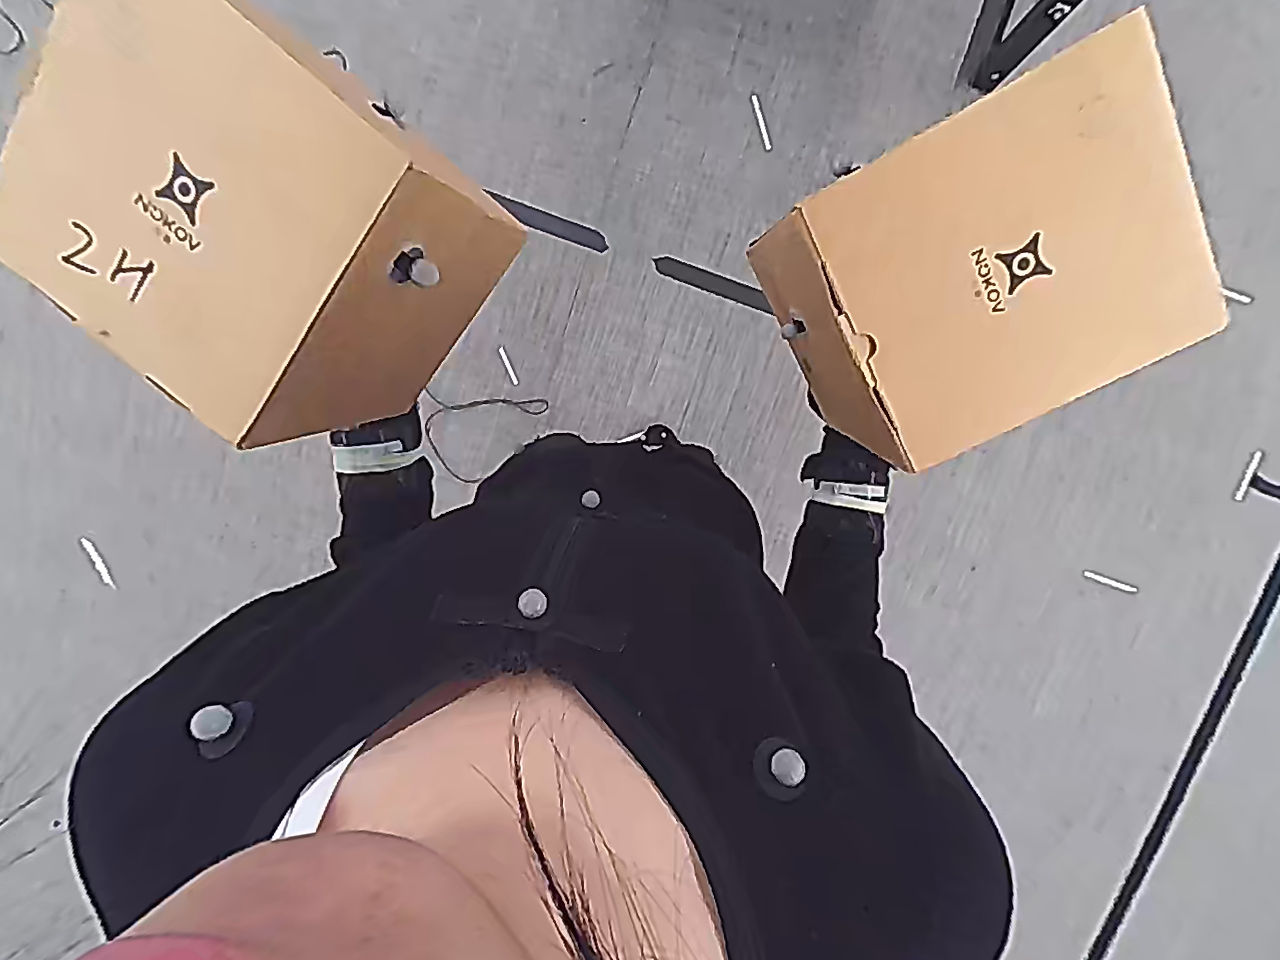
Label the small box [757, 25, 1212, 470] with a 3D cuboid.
[{"bbox_3d":[0.200,-0.135,0.365,0.179,0.176,0.168,-28,104,10],"label":"small box"}]

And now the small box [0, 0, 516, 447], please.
[{"bbox_3d":[-0.199,-0.150,0.335,0.168,0.176,0.179,40,106,-3],"label":"small box"}]
